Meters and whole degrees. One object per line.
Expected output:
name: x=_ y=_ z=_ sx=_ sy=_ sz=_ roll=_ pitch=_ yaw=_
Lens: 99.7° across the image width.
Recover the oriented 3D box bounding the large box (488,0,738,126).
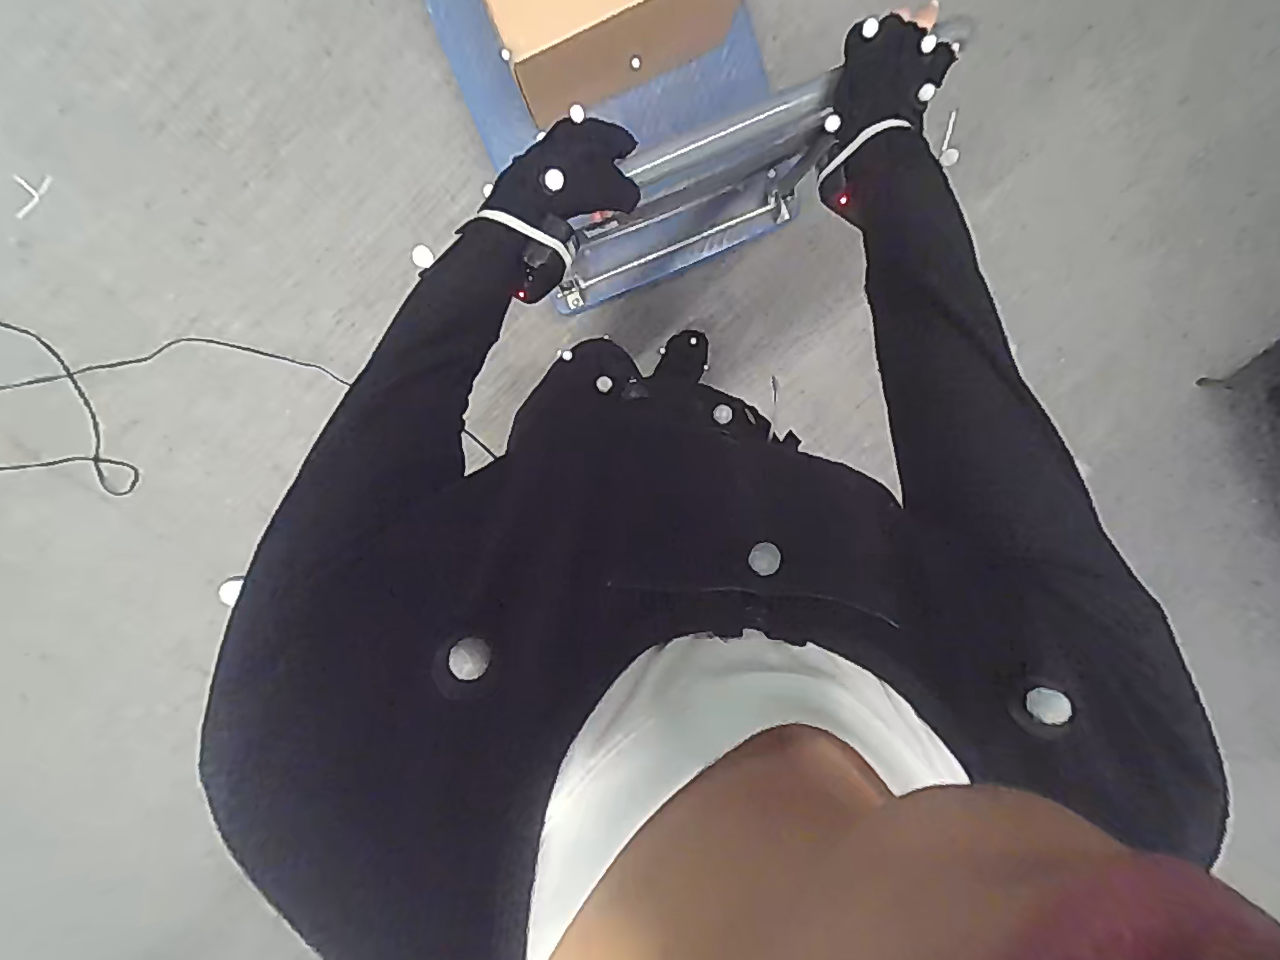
large box: x=-0.067 y=-0.882 z=0.902 sx=0.408 sy=0.320 sz=0.320 roll=-23 pitch=106 yaw=5
